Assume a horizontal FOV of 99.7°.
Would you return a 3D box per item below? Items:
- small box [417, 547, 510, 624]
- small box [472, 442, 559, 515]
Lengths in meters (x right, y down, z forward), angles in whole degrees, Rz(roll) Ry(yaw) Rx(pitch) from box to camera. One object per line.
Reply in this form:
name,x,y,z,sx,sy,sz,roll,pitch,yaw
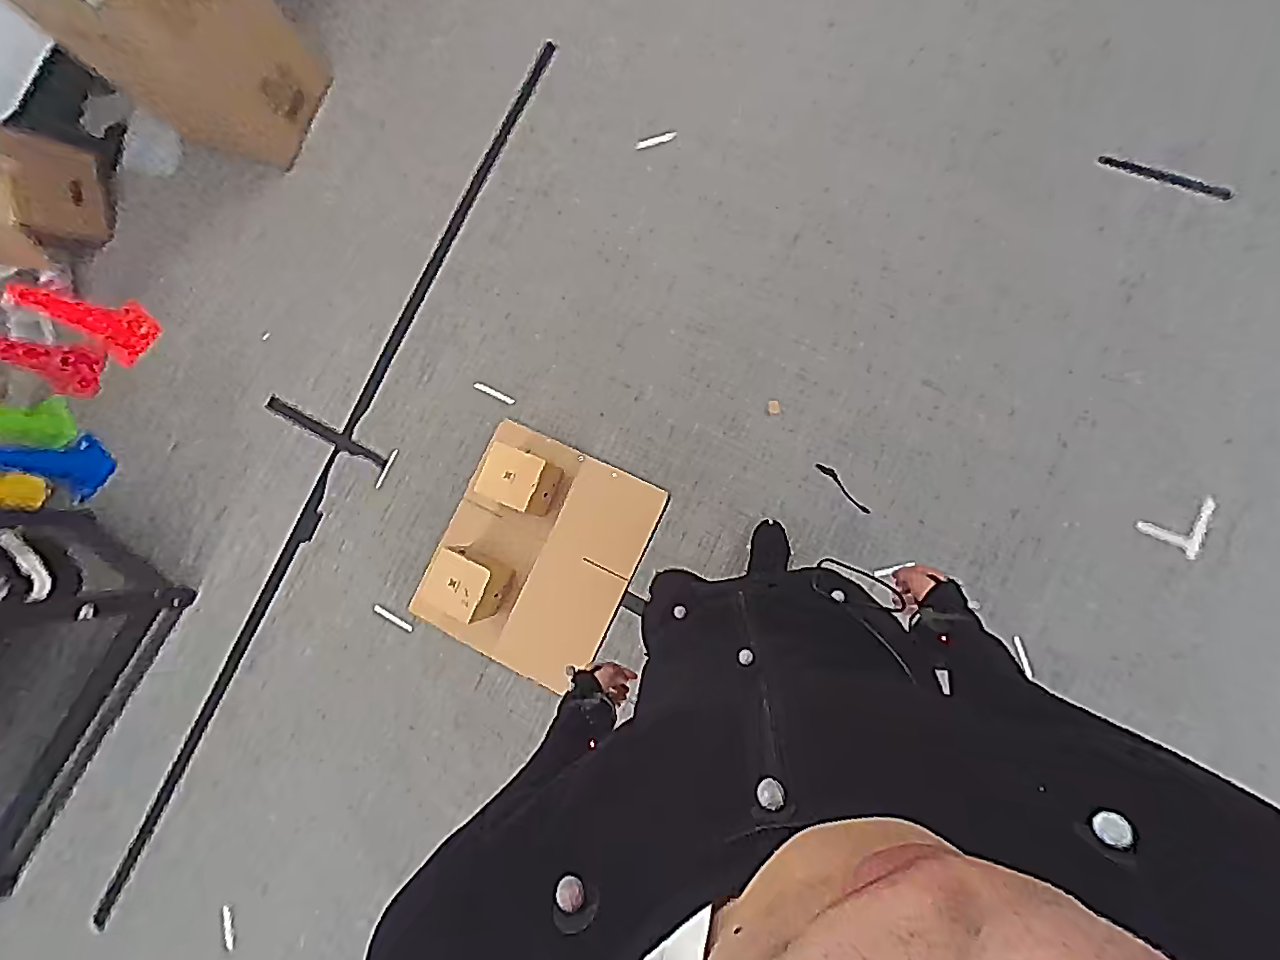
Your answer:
small box,-0.521,0.312,1.620,0.179,0.176,0.168,24,88,10
small box,-0.373,0.003,1.644,0.179,0.176,0.168,21,86,10
